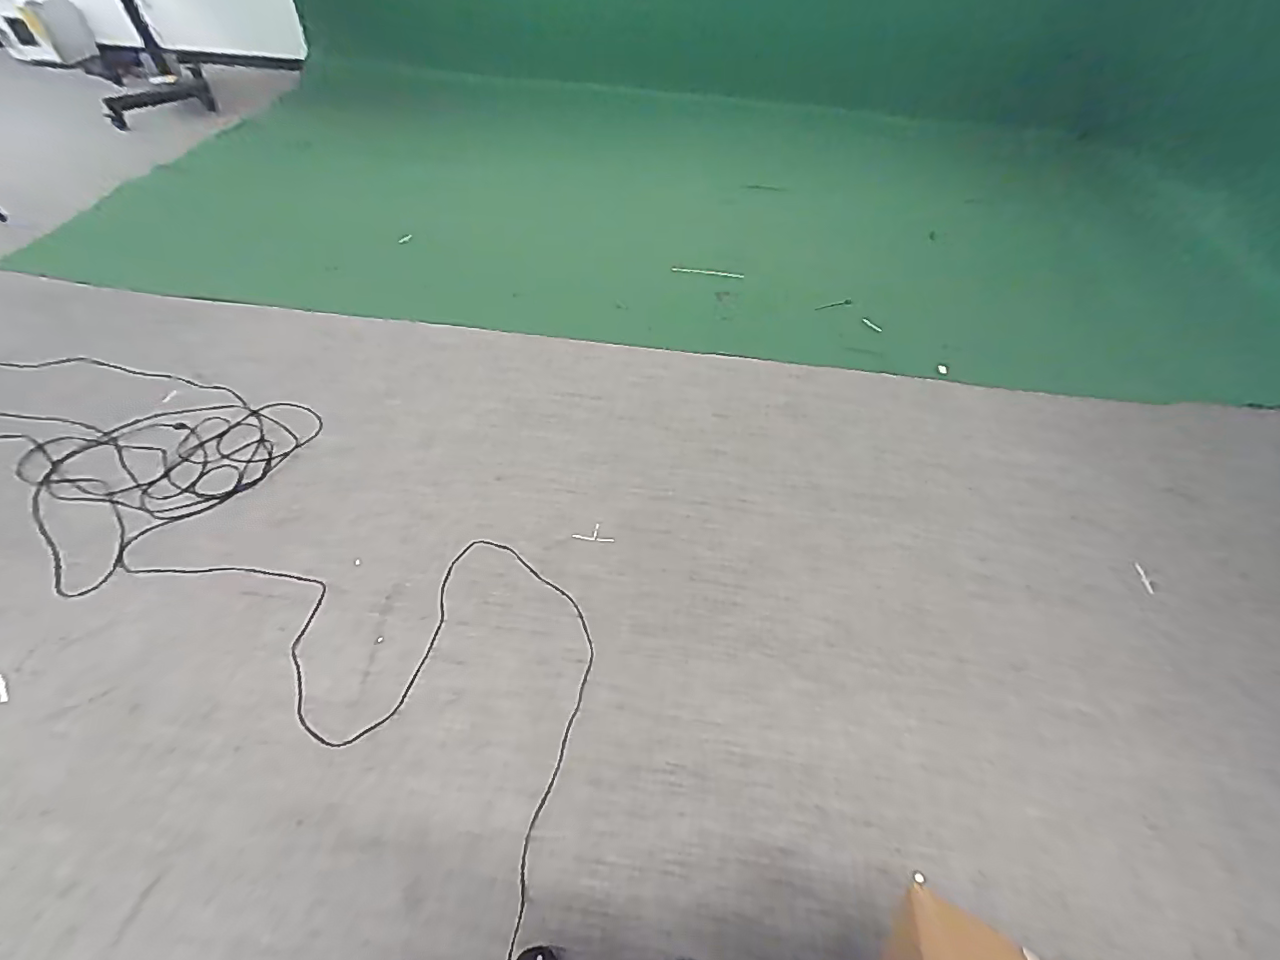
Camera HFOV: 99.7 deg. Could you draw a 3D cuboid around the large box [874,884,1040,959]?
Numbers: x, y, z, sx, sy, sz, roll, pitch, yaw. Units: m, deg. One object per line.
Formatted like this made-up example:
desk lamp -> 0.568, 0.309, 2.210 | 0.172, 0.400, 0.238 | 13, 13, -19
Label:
large box -> 0.401, 0.774, 0.571 | 0.320, 0.408, 0.320 | 25, 93, 22
